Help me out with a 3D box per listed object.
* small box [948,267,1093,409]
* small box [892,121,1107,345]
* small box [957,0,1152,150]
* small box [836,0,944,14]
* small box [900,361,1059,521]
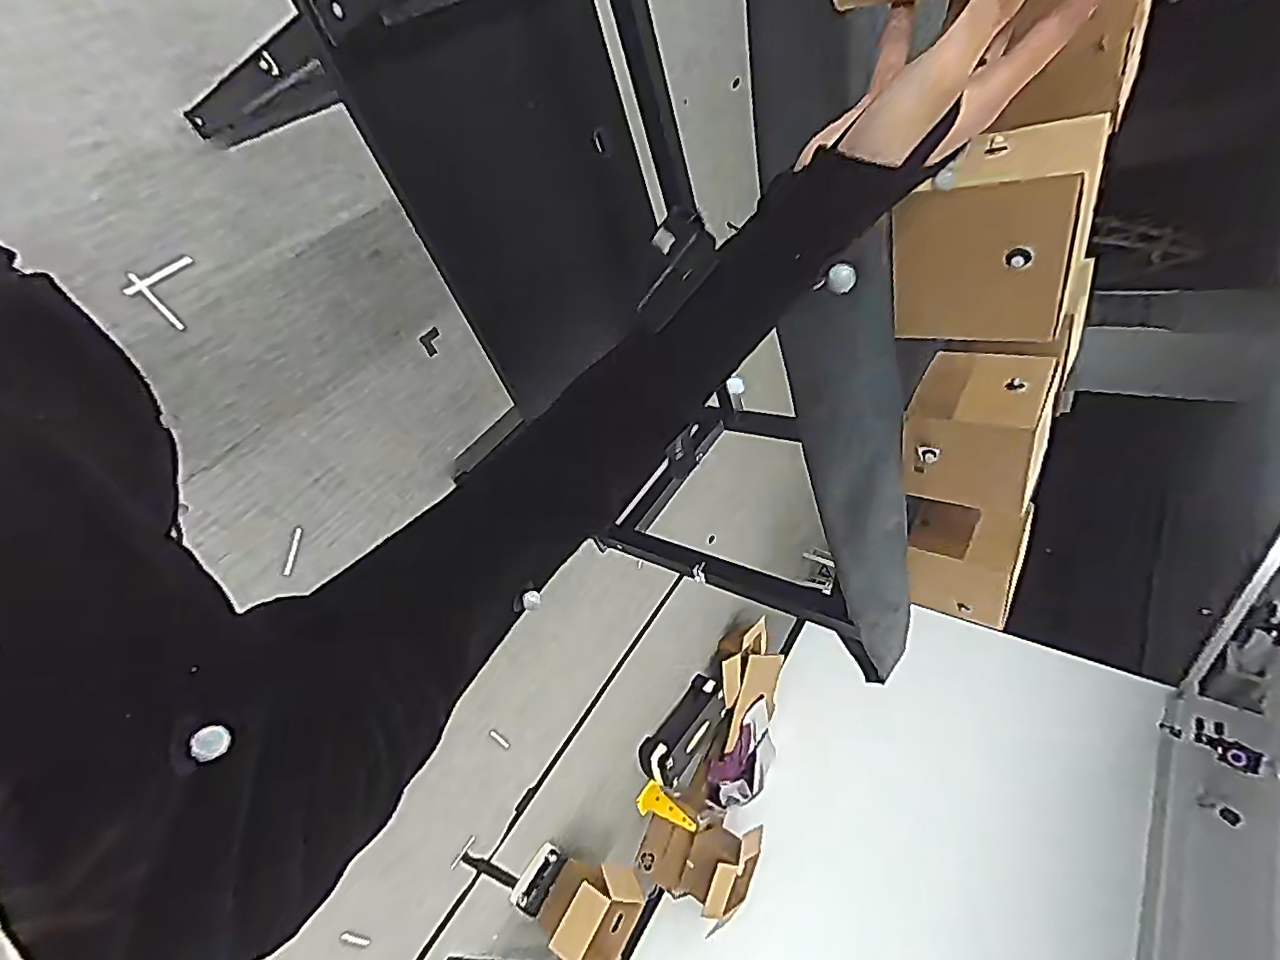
[{"bbox_3d":[0.642,-0.248,0.930,0.168,0.176,0.179,-51,137,-29],"label":"small box"},{"bbox_3d":[0.400,-0.272,0.619,0.168,0.176,0.179,-49,135,-30],"label":"small box"},{"bbox_3d":[0.507,-0.529,0.667,0.179,0.176,0.168,-53,137,-26],"label":"small box"},{"bbox_3d":[0.195,-0.349,0.238,0.179,0.176,0.168,-45,138,-11],"label":"small box"},{"bbox_3d":[0.514,-0.069,0.830,0.179,0.176,0.168,-50,135,-30],"label":"small box"}]
